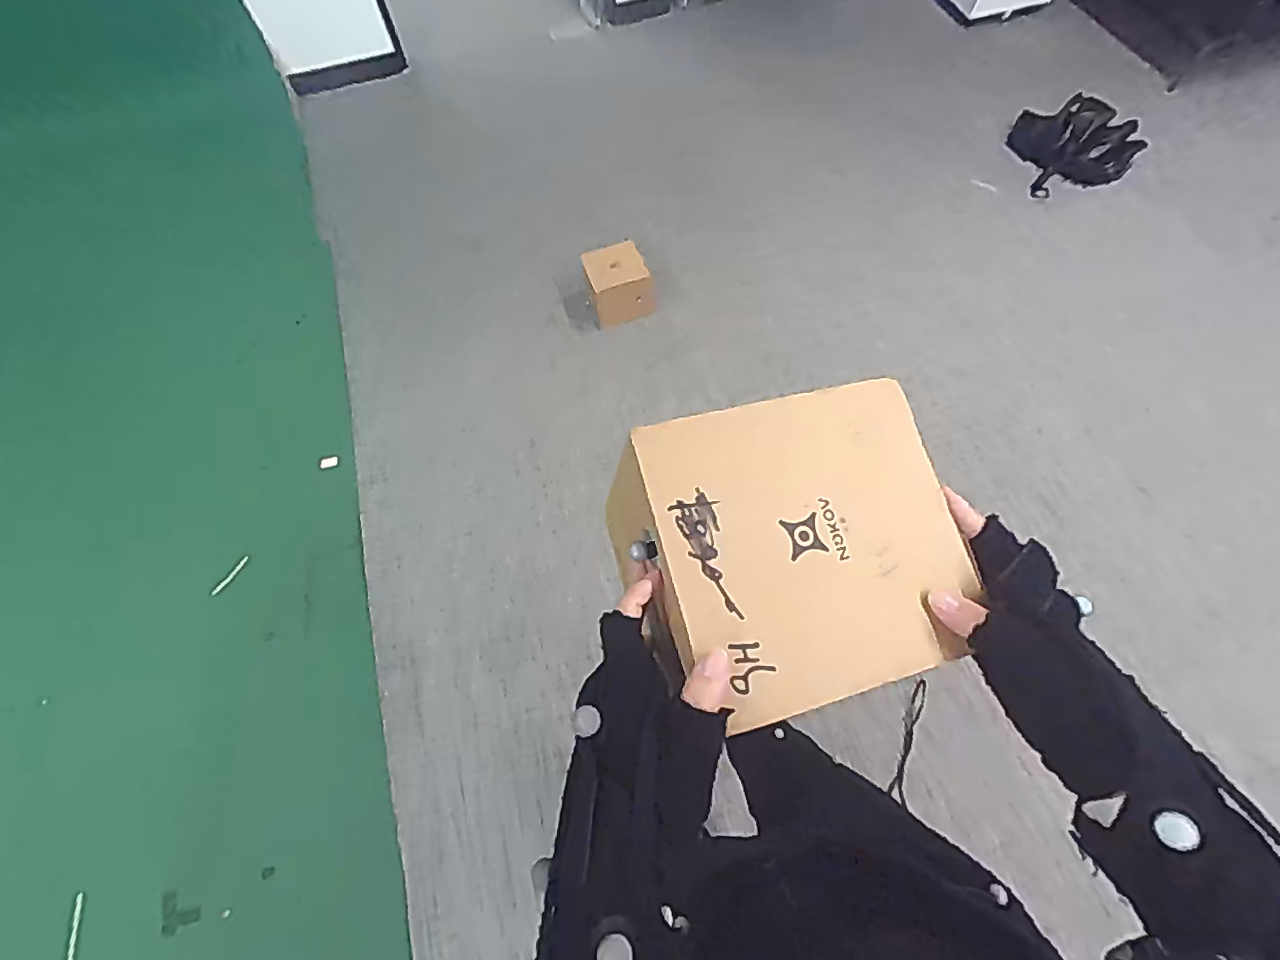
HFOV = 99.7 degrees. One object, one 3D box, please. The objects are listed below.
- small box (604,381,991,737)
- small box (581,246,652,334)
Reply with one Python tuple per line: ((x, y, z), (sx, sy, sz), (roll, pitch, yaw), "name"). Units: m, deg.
((0.083, 0.055, 0.381), (0.179, 0.176, 0.168), (-15, 75, -12), "small box")
((-0.069, -0.593, 1.700), (0.179, 0.176, 0.168), (-21, 65, -6), "small box")
